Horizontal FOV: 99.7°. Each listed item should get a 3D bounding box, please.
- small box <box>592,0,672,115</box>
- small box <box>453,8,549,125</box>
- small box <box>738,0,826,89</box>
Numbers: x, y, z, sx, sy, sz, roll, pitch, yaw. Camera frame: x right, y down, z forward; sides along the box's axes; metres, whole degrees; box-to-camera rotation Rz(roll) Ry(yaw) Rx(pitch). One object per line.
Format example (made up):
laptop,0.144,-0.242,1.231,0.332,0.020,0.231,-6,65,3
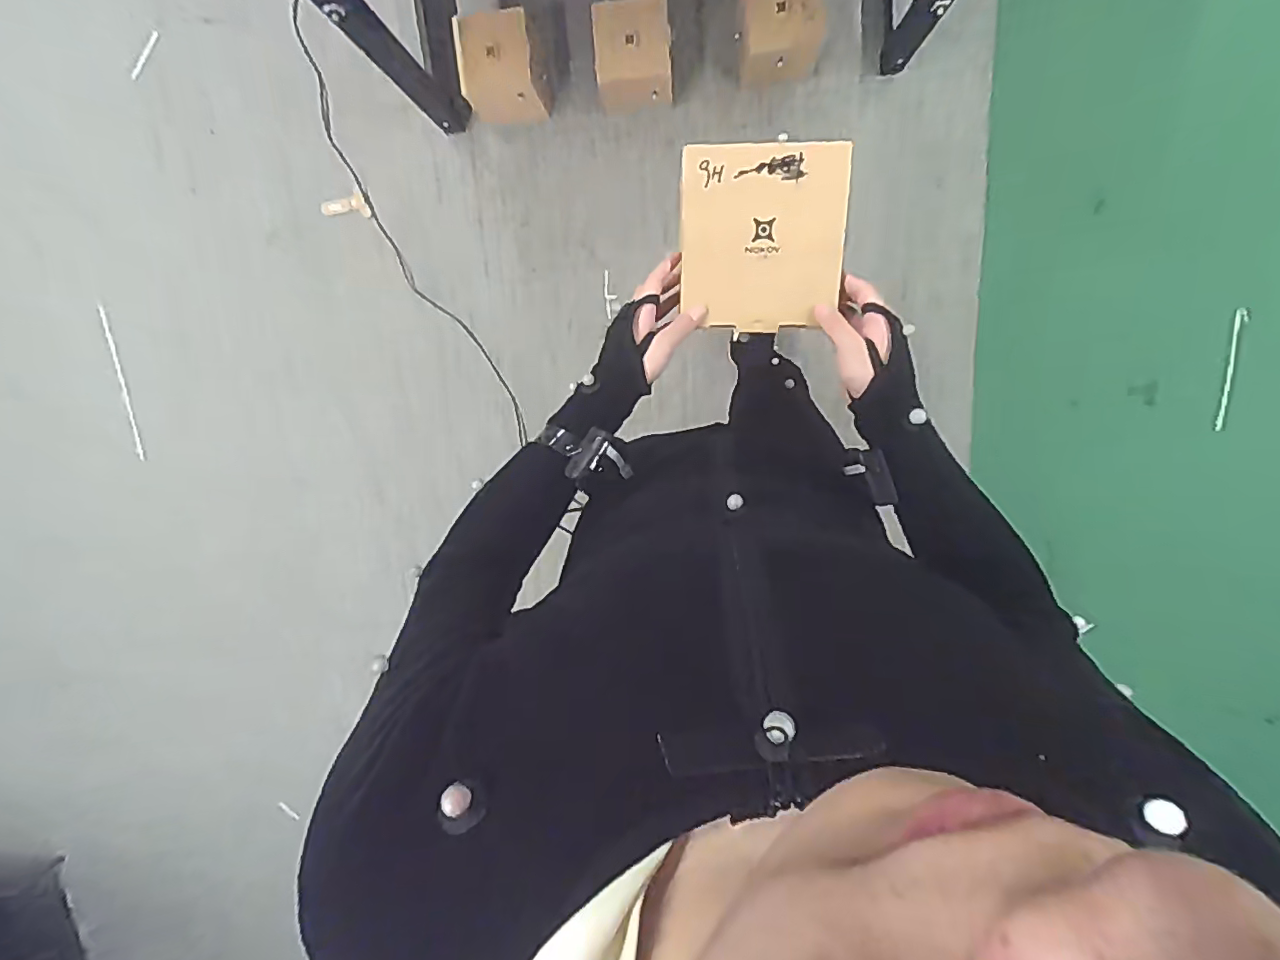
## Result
small box,-0.012,-1.016,1.307,0.179,0.176,0.168,-3,101,6
small box,-0.336,-1.009,1.336,0.179,0.176,0.168,-4,101,5
small box,0.326,-1.056,1.268,0.179,0.176,0.168,-6,101,6
